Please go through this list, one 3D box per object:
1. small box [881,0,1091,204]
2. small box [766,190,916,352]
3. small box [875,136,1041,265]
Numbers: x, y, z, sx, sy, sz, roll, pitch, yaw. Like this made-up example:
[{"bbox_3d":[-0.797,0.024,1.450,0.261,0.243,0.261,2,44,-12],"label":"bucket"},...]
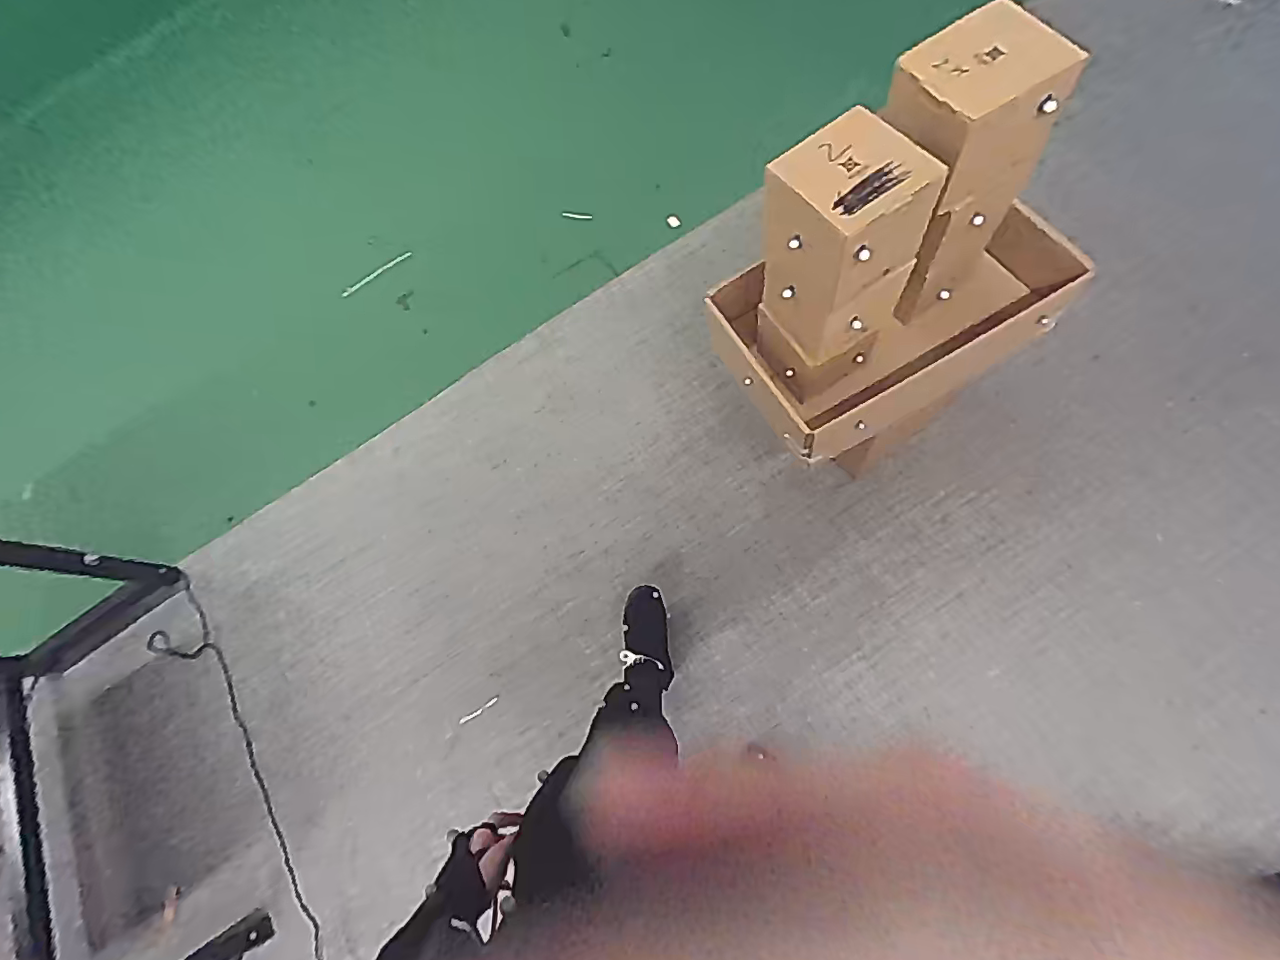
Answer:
[{"bbox_3d":[0.490,-0.560,0.802,0.179,0.176,0.168,-30,68,4],"label":"small box"},{"bbox_3d":[0.338,-0.351,0.947,0.168,0.176,0.179,-32,68,-1],"label":"small box"},{"bbox_3d":[0.541,-0.522,0.956,0.179,0.176,0.168,-37,69,1],"label":"small box"}]
